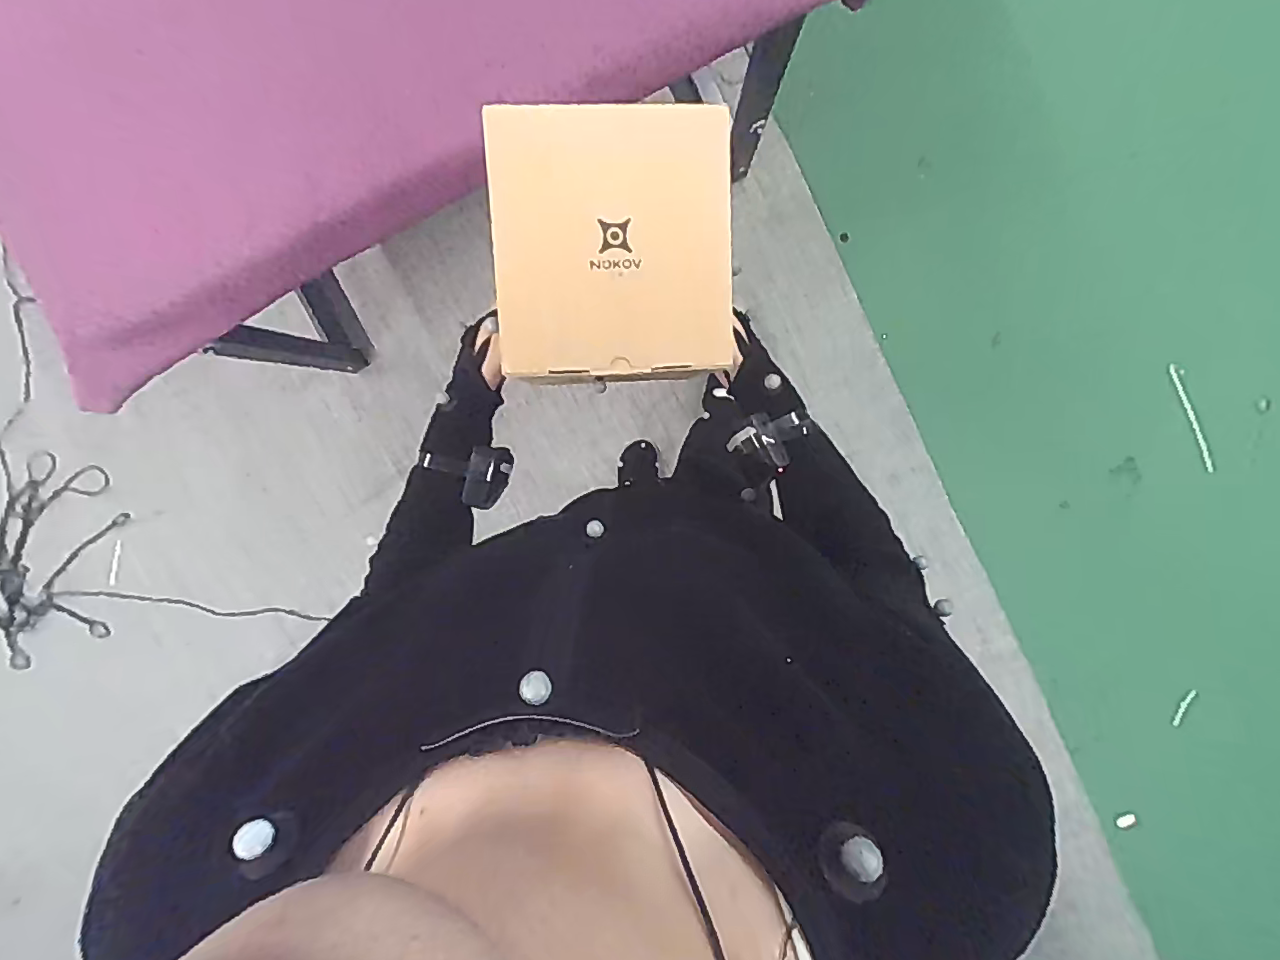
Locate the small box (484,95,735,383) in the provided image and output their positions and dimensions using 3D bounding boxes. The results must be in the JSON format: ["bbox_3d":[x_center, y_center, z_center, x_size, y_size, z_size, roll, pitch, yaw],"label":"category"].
[{"bbox_3d":[-0.025,-0.174,0.441,0.168,0.176,0.179,-3,99,-4],"label":"small box"}]
